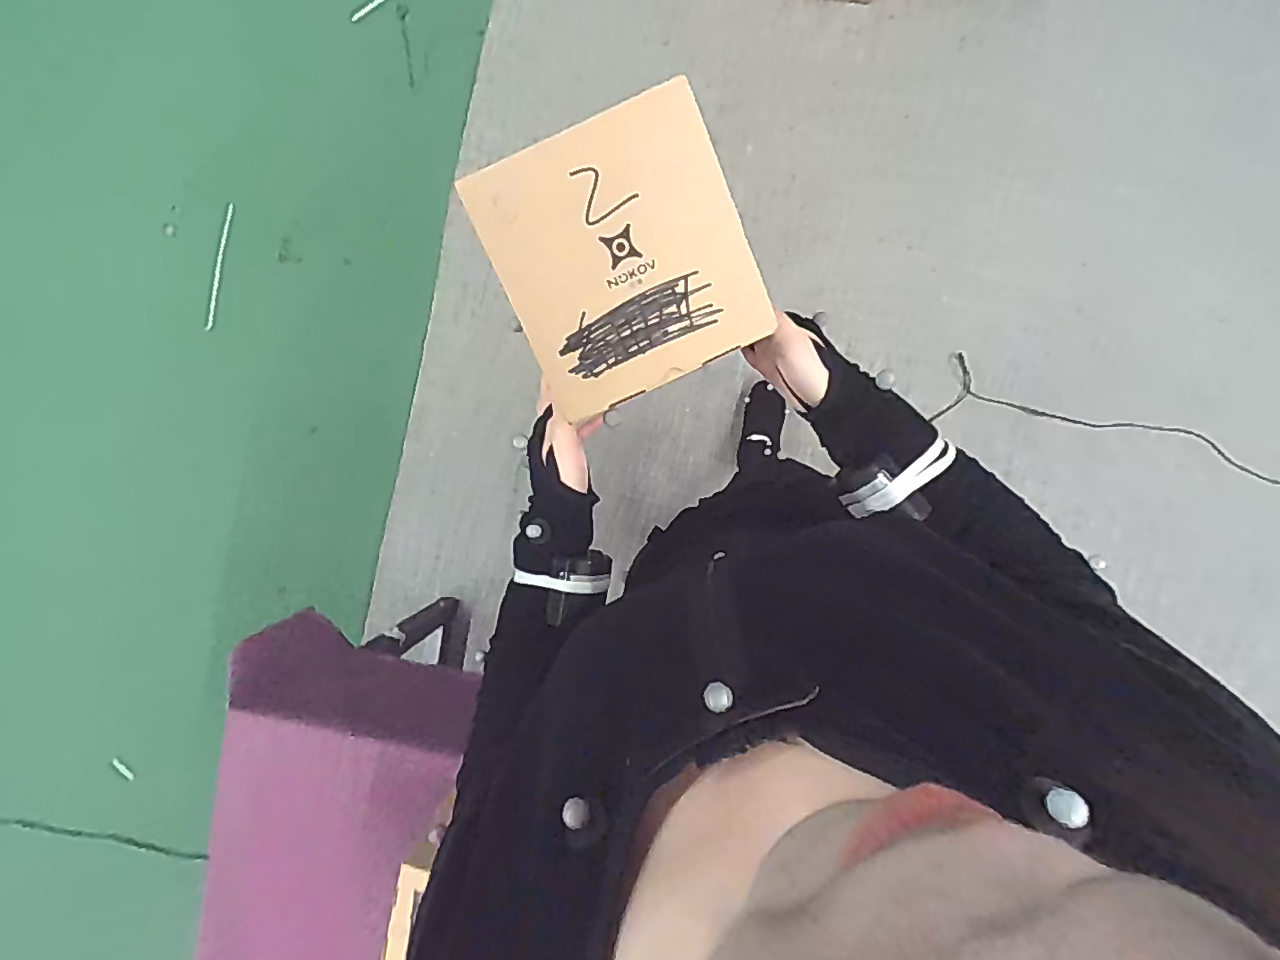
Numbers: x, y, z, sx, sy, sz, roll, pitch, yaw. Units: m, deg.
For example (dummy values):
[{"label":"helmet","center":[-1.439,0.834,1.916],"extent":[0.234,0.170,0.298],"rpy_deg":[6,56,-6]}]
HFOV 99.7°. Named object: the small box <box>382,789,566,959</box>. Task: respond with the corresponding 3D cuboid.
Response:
[{"label":"small box","center":[-0.216,0.560,0.737],"extent":[0.179,0.176,0.168],"rpy_deg":[13,95,4]}]
